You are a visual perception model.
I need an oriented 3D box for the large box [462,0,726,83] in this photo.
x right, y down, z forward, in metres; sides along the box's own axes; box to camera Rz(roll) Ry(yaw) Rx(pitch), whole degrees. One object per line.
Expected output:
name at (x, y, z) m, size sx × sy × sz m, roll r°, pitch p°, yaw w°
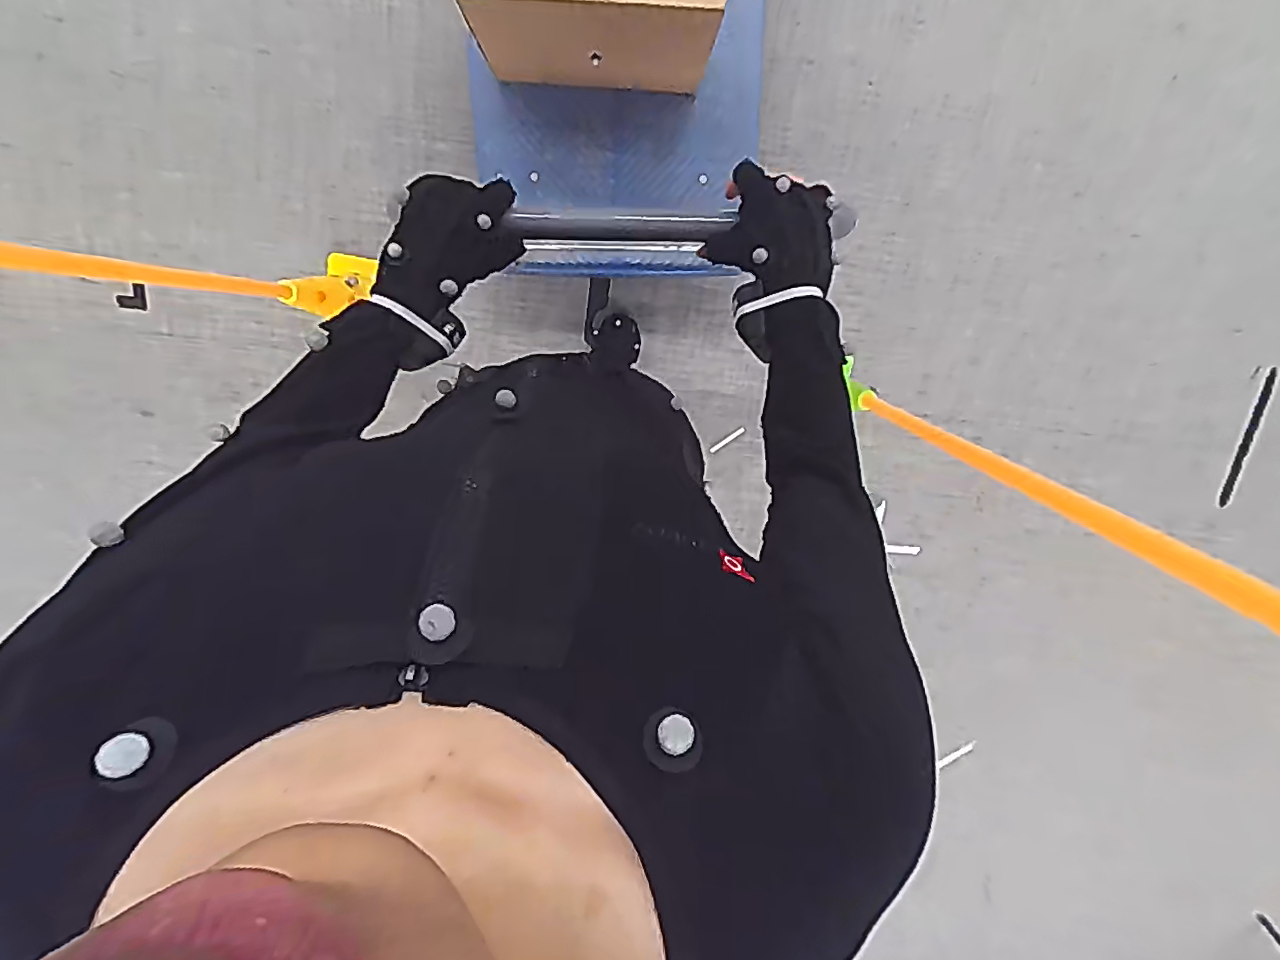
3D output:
large box at (-0.069, -0.898, 0.893) m, size 0.408 × 0.320 × 0.320 m, roll 2°, pitch 107°, yaw -2°

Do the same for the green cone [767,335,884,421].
green cone at (0.455, -0.219, 1.253) m, size 0.202 × 0.368 × 0.200 m, roll 10°, pitch 105°, yaw -6°
